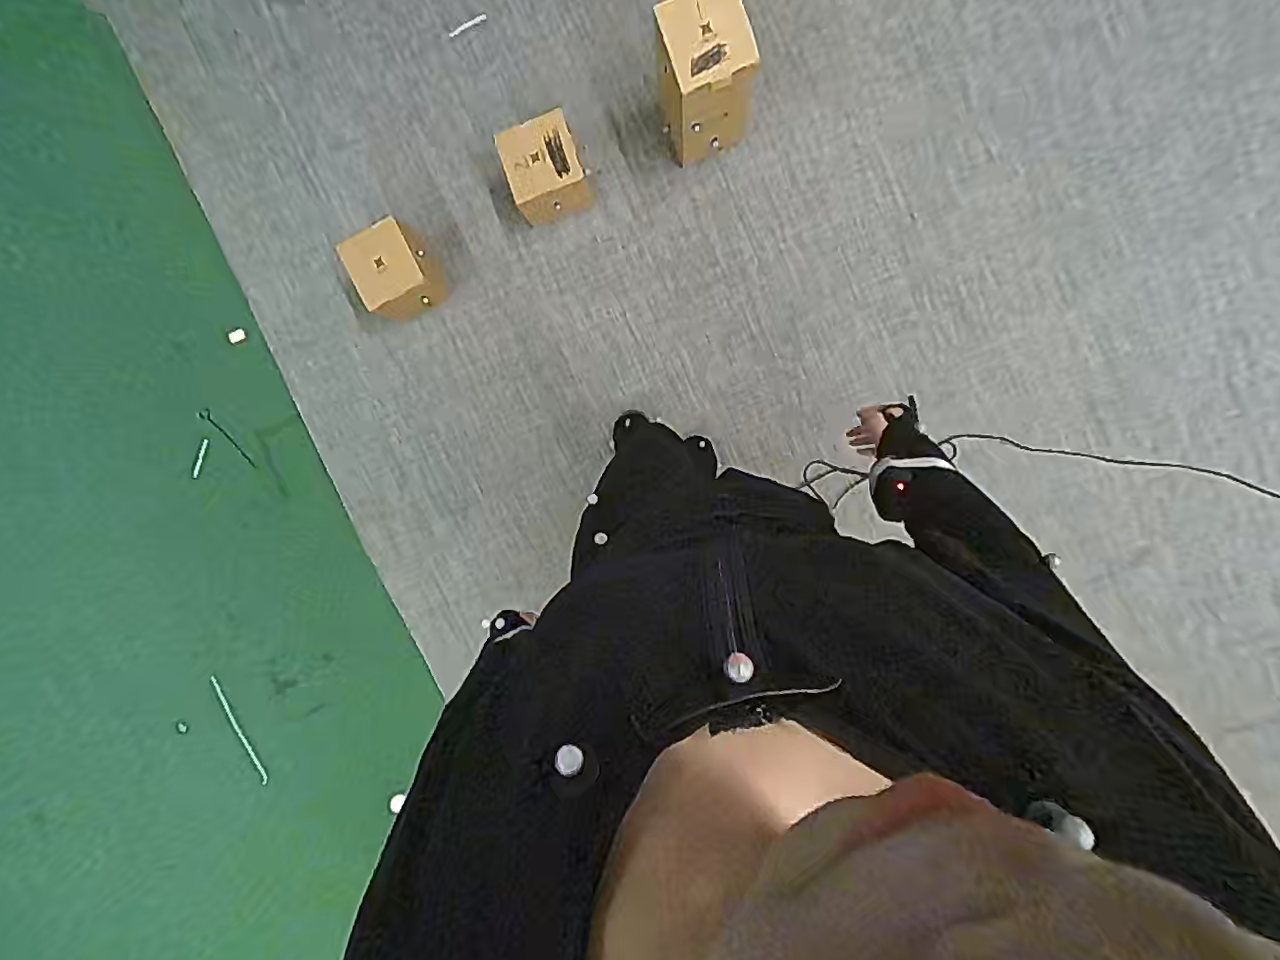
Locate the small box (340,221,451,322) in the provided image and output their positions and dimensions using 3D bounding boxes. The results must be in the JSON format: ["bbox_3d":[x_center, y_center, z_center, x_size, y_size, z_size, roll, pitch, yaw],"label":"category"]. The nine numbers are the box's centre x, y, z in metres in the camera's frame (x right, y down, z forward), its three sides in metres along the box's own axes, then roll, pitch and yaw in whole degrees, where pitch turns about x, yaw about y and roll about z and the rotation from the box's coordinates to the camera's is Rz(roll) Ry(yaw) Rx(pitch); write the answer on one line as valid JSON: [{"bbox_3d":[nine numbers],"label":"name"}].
[{"bbox_3d":[-0.623,-0.527,1.401,0.168,0.176,0.179,-25,93,6],"label":"small box"}]

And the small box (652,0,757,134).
[{"bbox_3d":[0.134,-0.870,1.139,0.168,0.176,0.179,-20,94,6],"label":"small box"}]

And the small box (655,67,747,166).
[{"bbox_3d":[0.146,-0.893,1.302,0.168,0.176,0.179,-21,95,6],"label":"small box"}]
